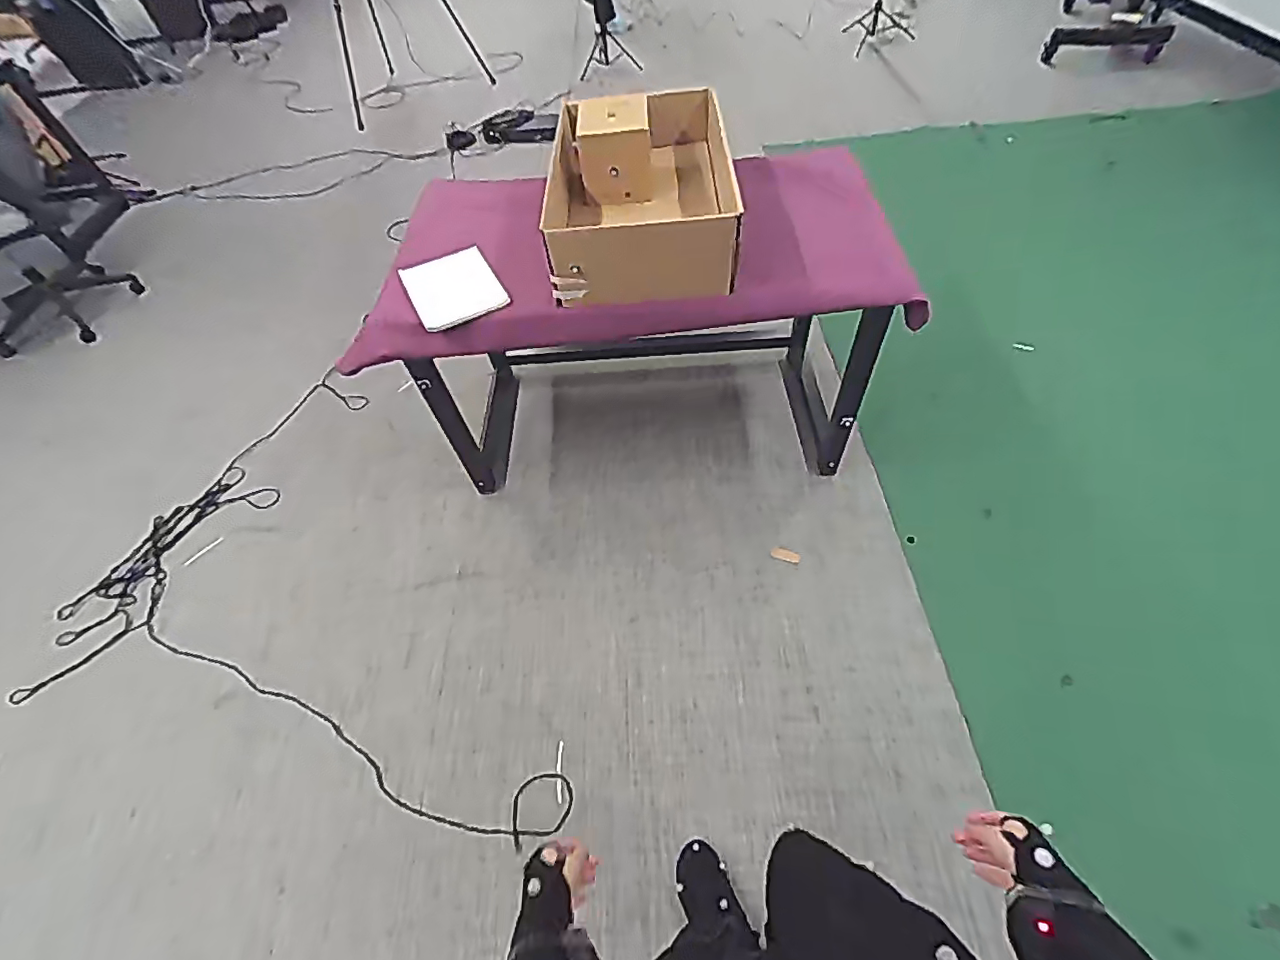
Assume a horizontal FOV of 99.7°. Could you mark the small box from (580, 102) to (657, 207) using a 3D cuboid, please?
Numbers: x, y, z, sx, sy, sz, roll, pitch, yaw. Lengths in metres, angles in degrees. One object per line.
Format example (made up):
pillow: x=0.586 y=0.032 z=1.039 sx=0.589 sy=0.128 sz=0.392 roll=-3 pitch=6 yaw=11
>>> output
small box: x=-0.047 y=-0.793 z=1.331 sx=0.168 sy=0.176 sz=0.179 roll=-3 pitch=56 yaw=4
